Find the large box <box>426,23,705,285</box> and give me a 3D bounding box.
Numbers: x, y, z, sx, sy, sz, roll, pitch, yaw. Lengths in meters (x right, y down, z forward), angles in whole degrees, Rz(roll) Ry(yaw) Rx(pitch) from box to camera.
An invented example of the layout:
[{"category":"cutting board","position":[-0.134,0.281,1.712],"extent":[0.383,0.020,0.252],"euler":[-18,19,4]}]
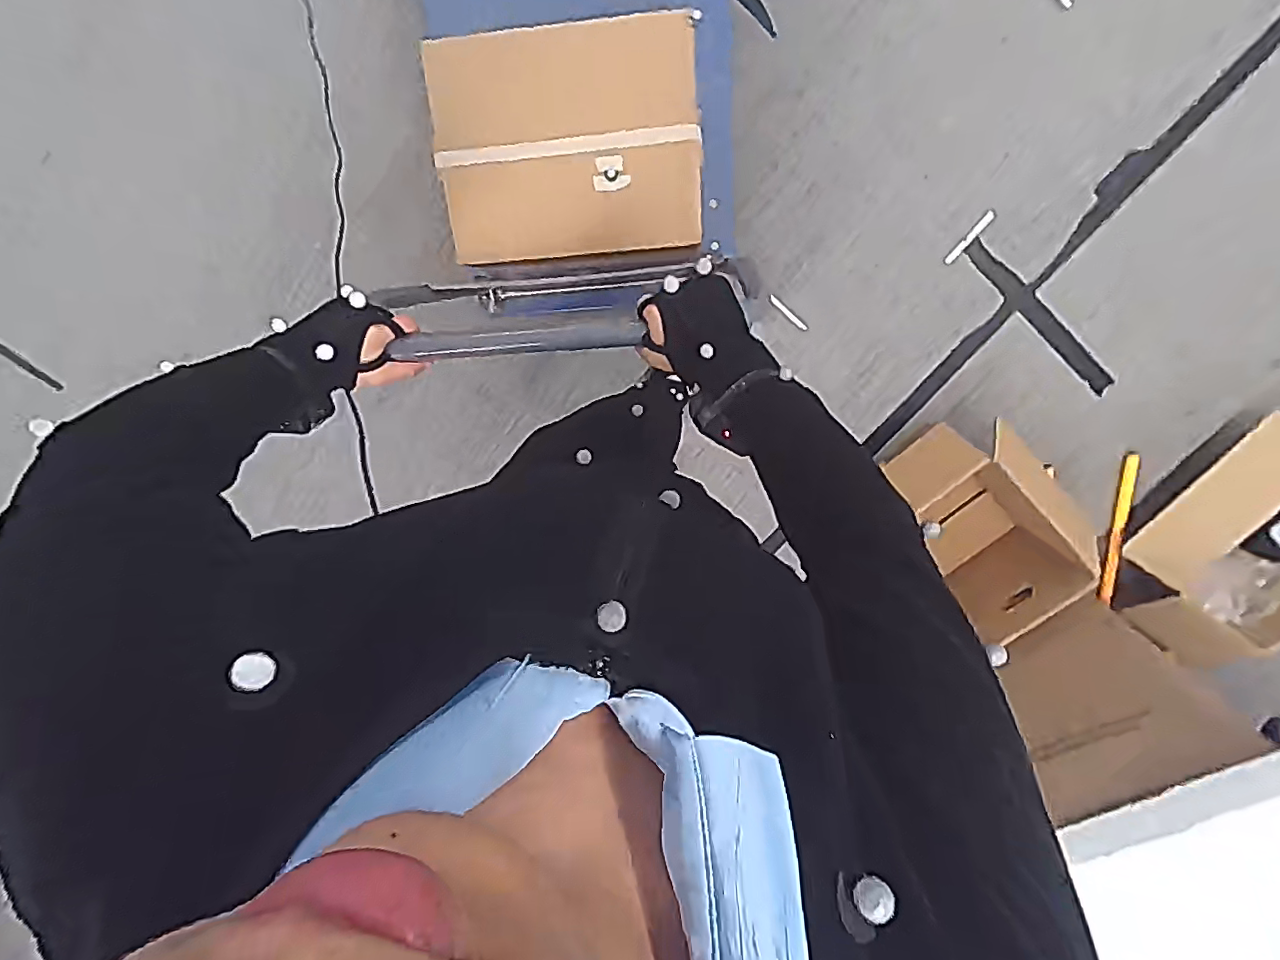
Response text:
[{"category":"large box","position":[-0.102,-0.535,0.967],"extent":[0.408,0.320,0.320],"euler":[-3,109,3]}]
